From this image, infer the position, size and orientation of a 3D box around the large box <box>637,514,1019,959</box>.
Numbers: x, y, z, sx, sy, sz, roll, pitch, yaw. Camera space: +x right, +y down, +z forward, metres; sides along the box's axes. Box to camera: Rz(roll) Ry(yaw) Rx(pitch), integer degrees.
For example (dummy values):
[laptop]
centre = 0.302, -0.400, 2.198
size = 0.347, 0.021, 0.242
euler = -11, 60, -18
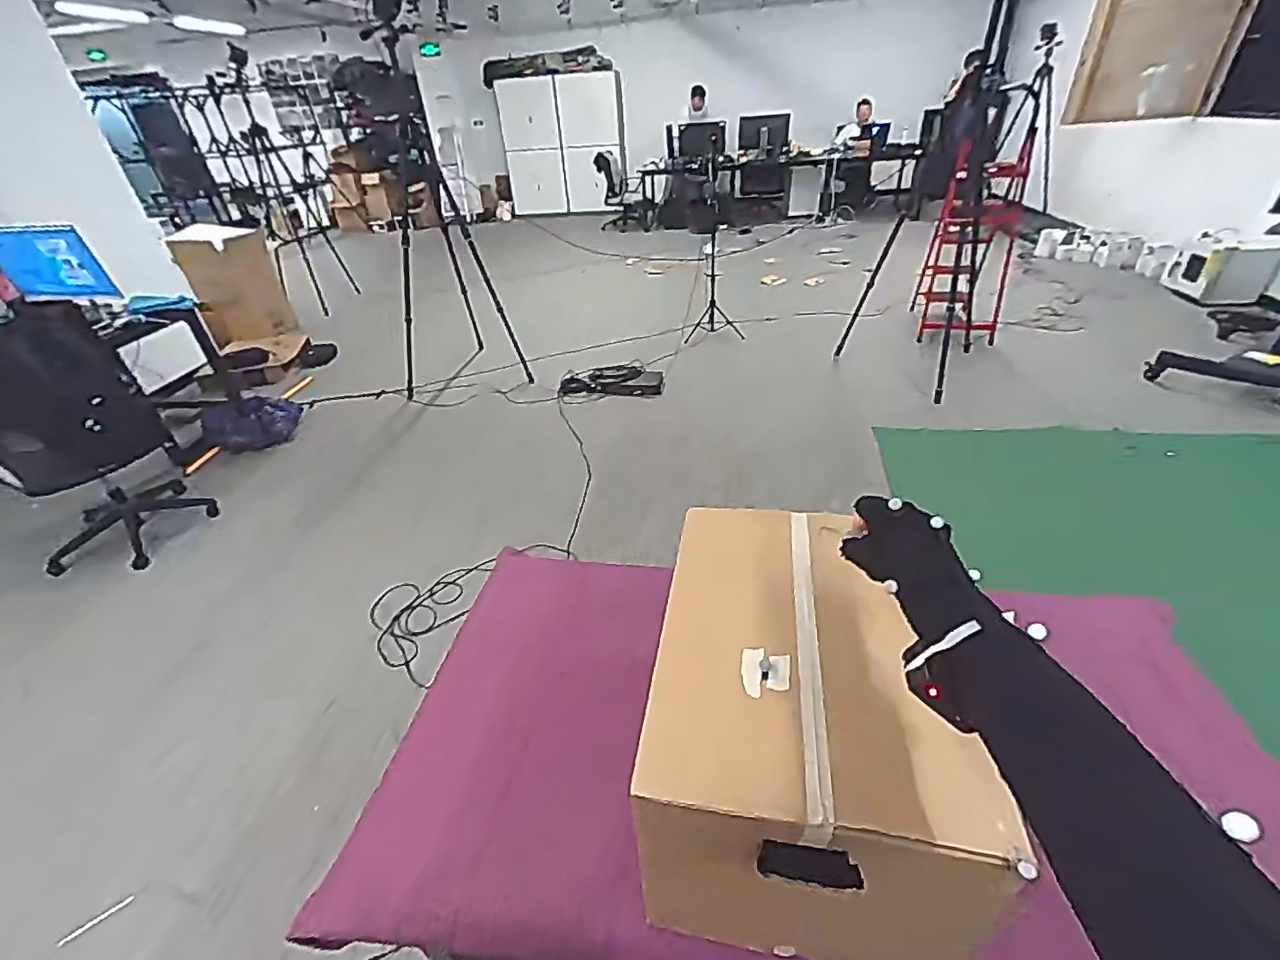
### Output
[large box]
centre = 0.188, 0.295, 0.688
size = 0.320, 0.320, 0.408
euler = 3, 36, 11
